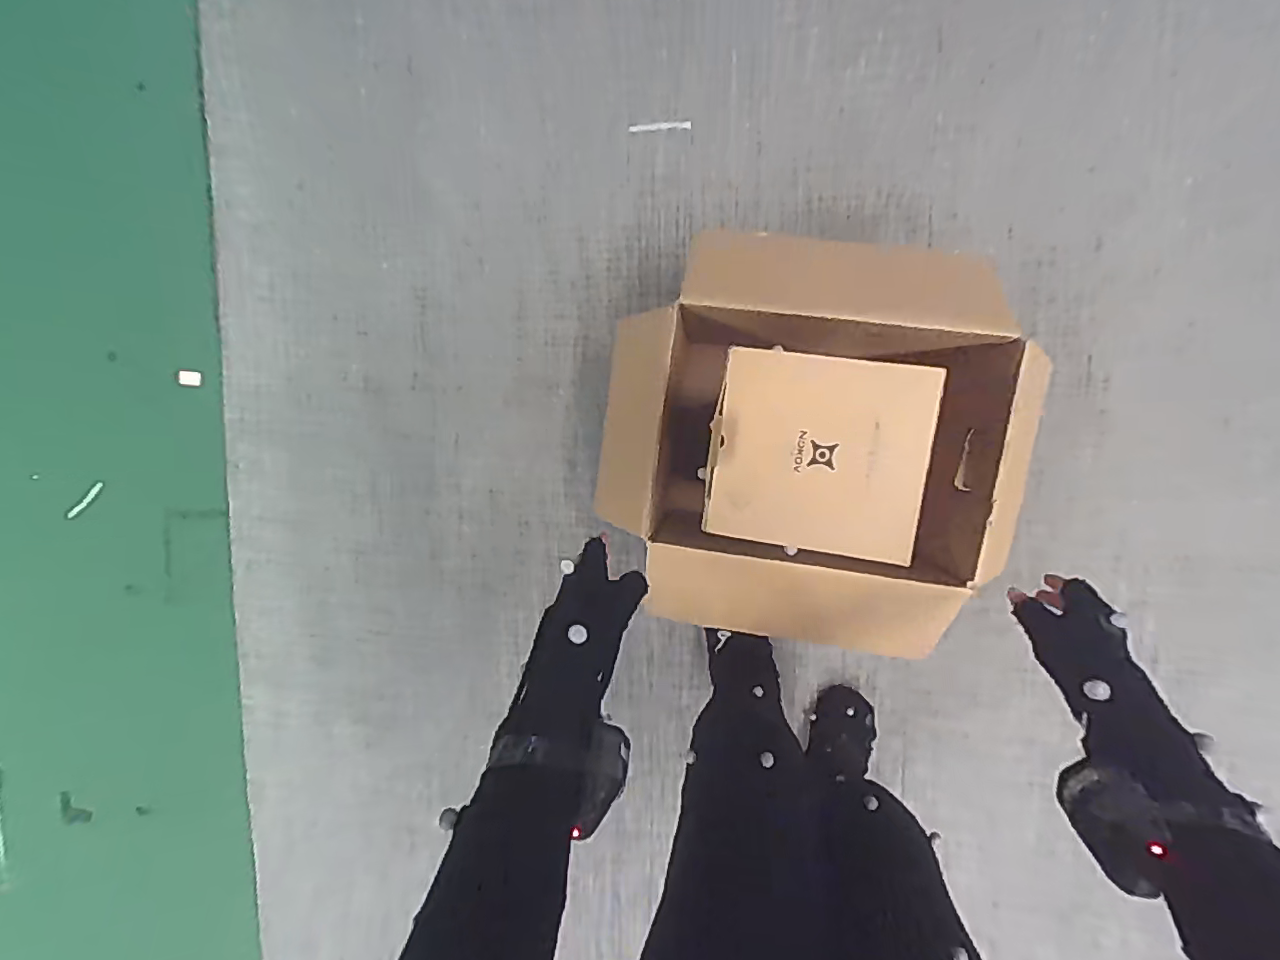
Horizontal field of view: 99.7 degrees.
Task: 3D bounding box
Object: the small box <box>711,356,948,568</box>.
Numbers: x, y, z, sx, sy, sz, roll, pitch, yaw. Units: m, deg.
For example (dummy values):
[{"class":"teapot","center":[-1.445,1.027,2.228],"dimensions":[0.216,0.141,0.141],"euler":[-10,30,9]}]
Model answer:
[{"class":"small box","center":[0.170,-0.023,0.538],"dimensions":[0.179,0.176,0.168],"euler":[7,97,8]}]
